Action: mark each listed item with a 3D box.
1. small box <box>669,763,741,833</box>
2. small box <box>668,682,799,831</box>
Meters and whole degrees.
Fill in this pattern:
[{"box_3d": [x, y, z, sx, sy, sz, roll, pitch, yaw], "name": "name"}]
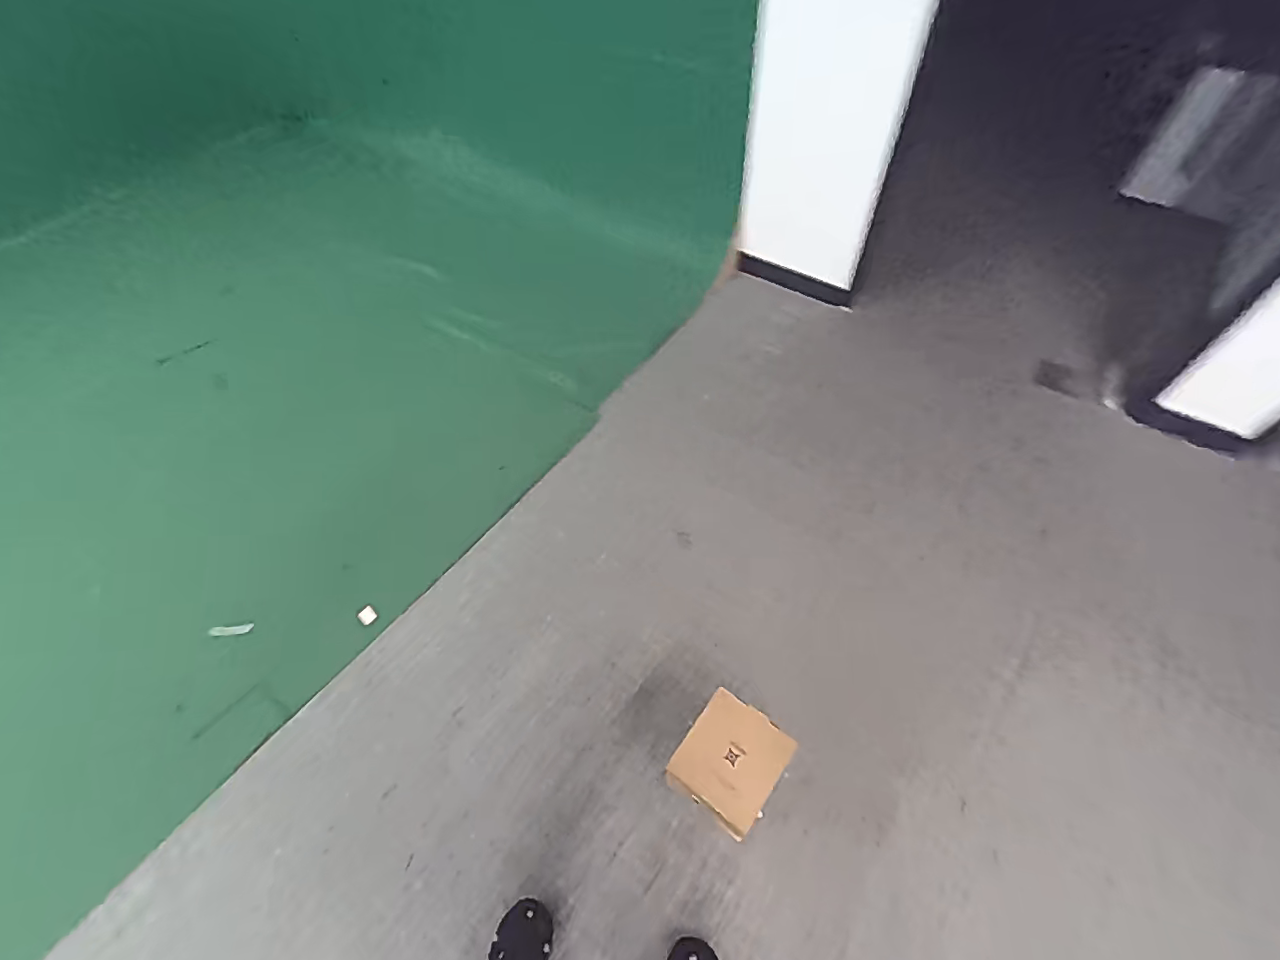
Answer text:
[{"box_3d": [0.178, 0.611, 1.140, 0.179, 0.176, 0.168, 35, 66, 24], "name": "small box"}, {"box_3d": [0.170, 0.516, 1.008, 0.168, 0.176, 0.179, 32, 66, 25], "name": "small box"}]
